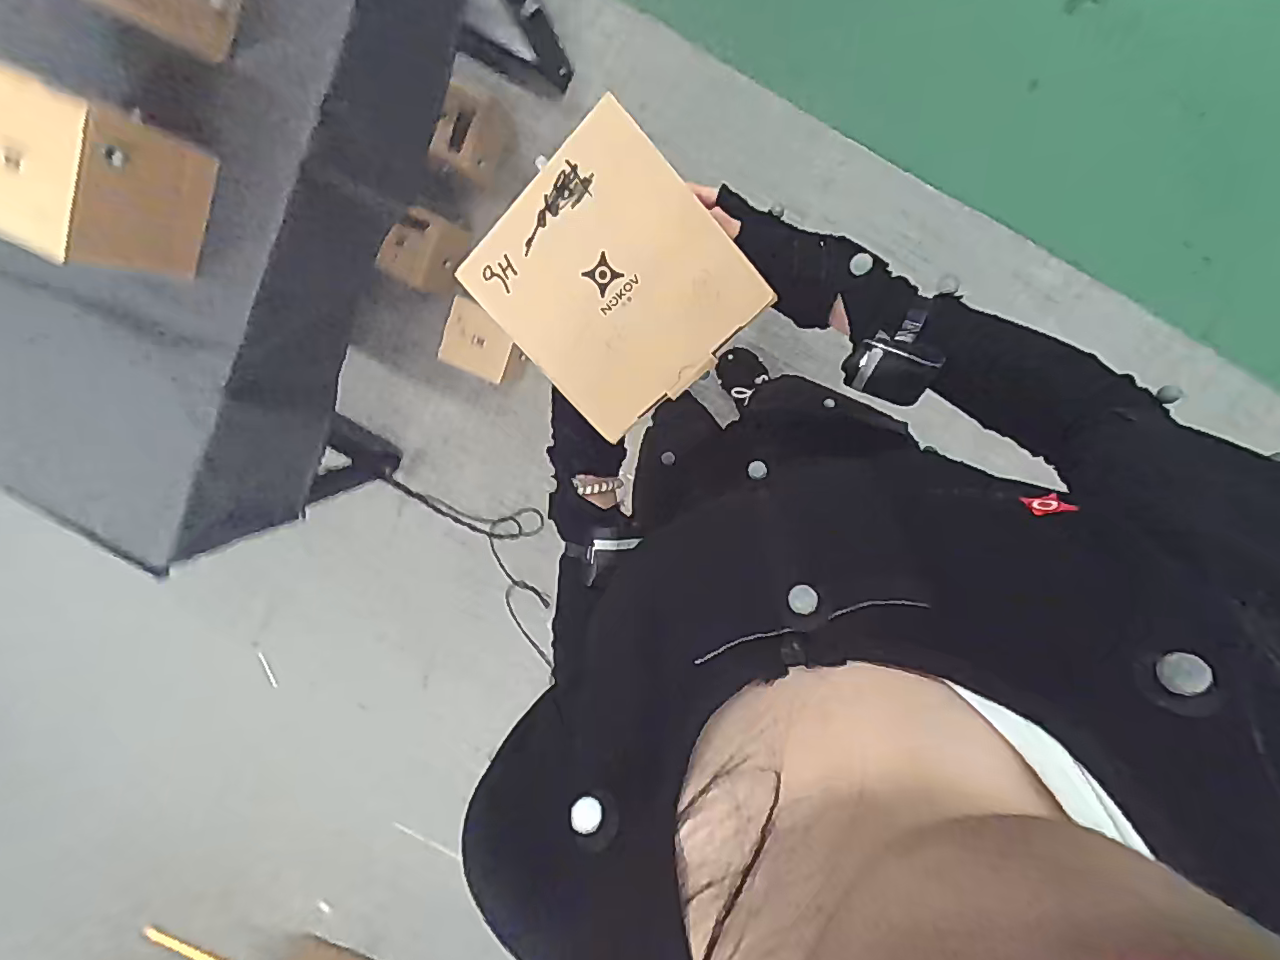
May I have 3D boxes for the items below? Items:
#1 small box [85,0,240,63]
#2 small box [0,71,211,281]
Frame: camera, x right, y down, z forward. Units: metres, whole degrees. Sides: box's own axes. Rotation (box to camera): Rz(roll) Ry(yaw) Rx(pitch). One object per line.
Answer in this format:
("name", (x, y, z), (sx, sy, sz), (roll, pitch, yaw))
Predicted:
("small box", (-0.601, -0.629, 0.615), (0.179, 0.176, 0.168), (27, 106, 0))
("small box", (-0.699, -0.373, 0.688), (0.168, 0.176, 0.179), (25, 104, 1))
